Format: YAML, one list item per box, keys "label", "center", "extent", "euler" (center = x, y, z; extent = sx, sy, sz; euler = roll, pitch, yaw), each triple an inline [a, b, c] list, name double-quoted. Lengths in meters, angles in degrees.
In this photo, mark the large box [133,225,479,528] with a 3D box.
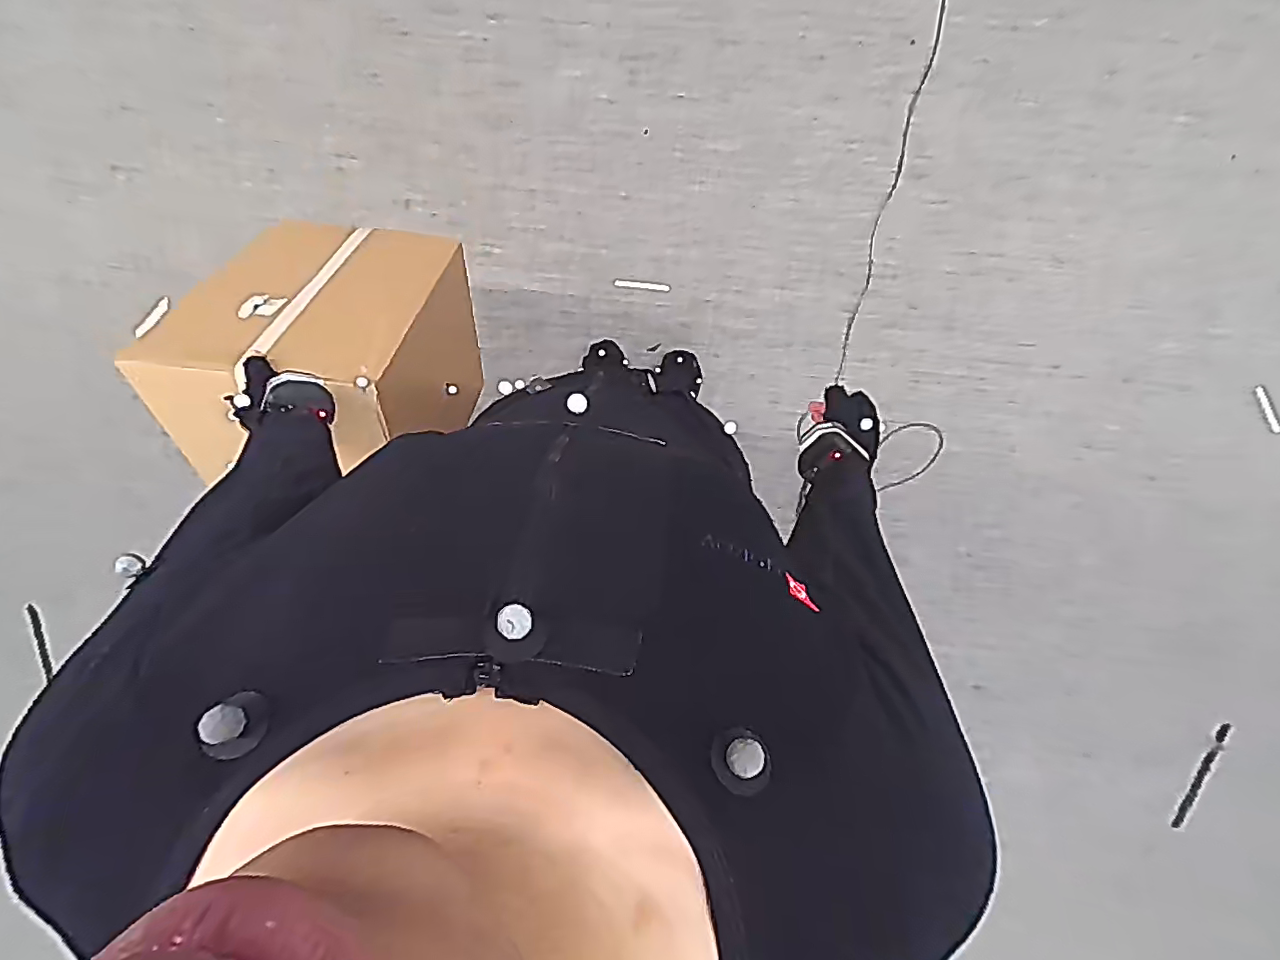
- label: "large box"
  center: [-0.487, -0.178, 0.917]
  extent: [0.320, 0.408, 0.320]
  euler: [5, 139, -1]
